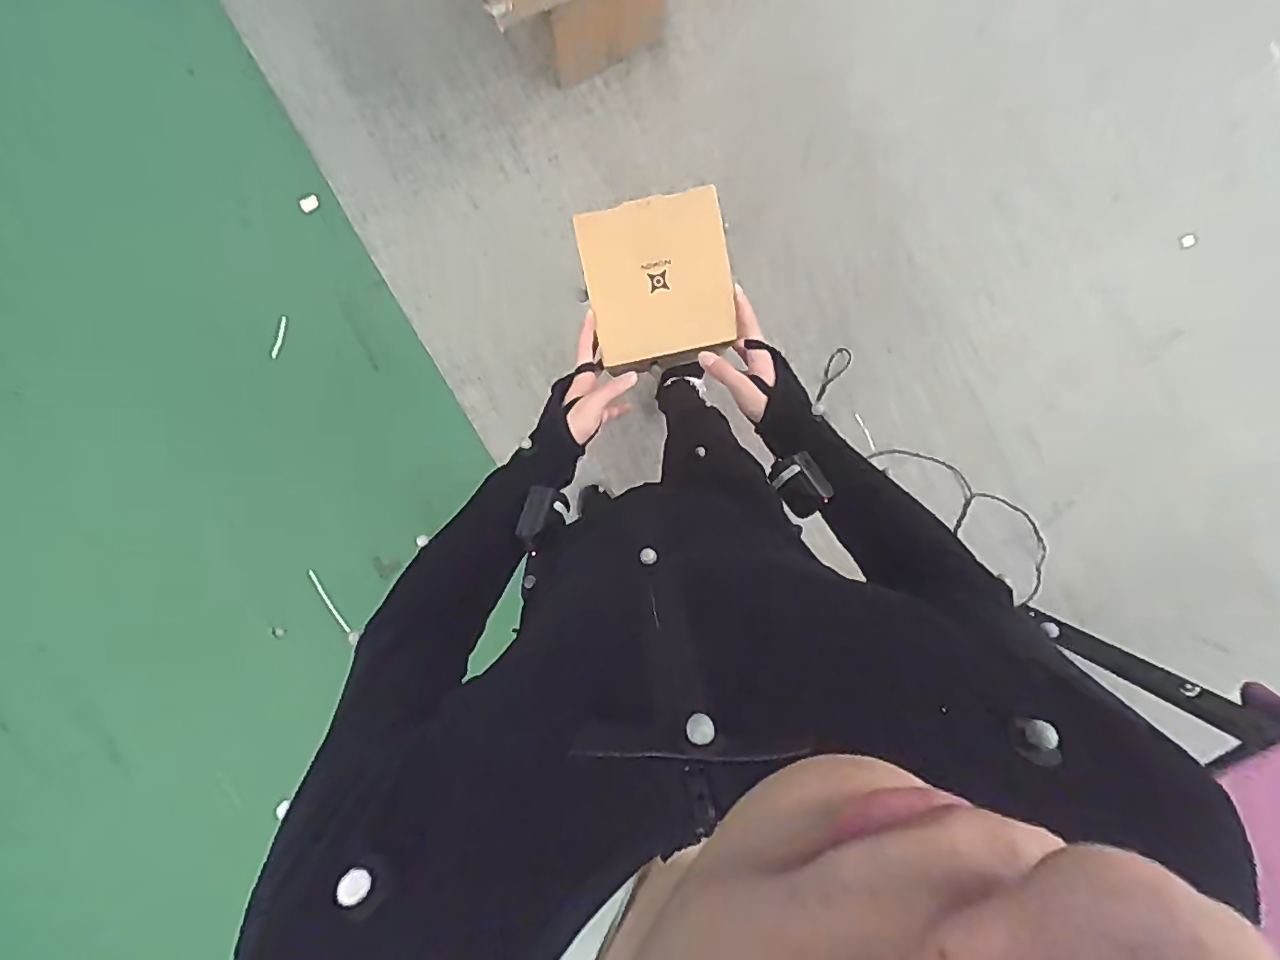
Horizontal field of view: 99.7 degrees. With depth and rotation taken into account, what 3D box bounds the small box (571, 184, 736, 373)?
[{"bbox_3d":[0.020,-0.241,0.697,0.168,0.176,0.179,-12,94,3],"label":"small box"}]
